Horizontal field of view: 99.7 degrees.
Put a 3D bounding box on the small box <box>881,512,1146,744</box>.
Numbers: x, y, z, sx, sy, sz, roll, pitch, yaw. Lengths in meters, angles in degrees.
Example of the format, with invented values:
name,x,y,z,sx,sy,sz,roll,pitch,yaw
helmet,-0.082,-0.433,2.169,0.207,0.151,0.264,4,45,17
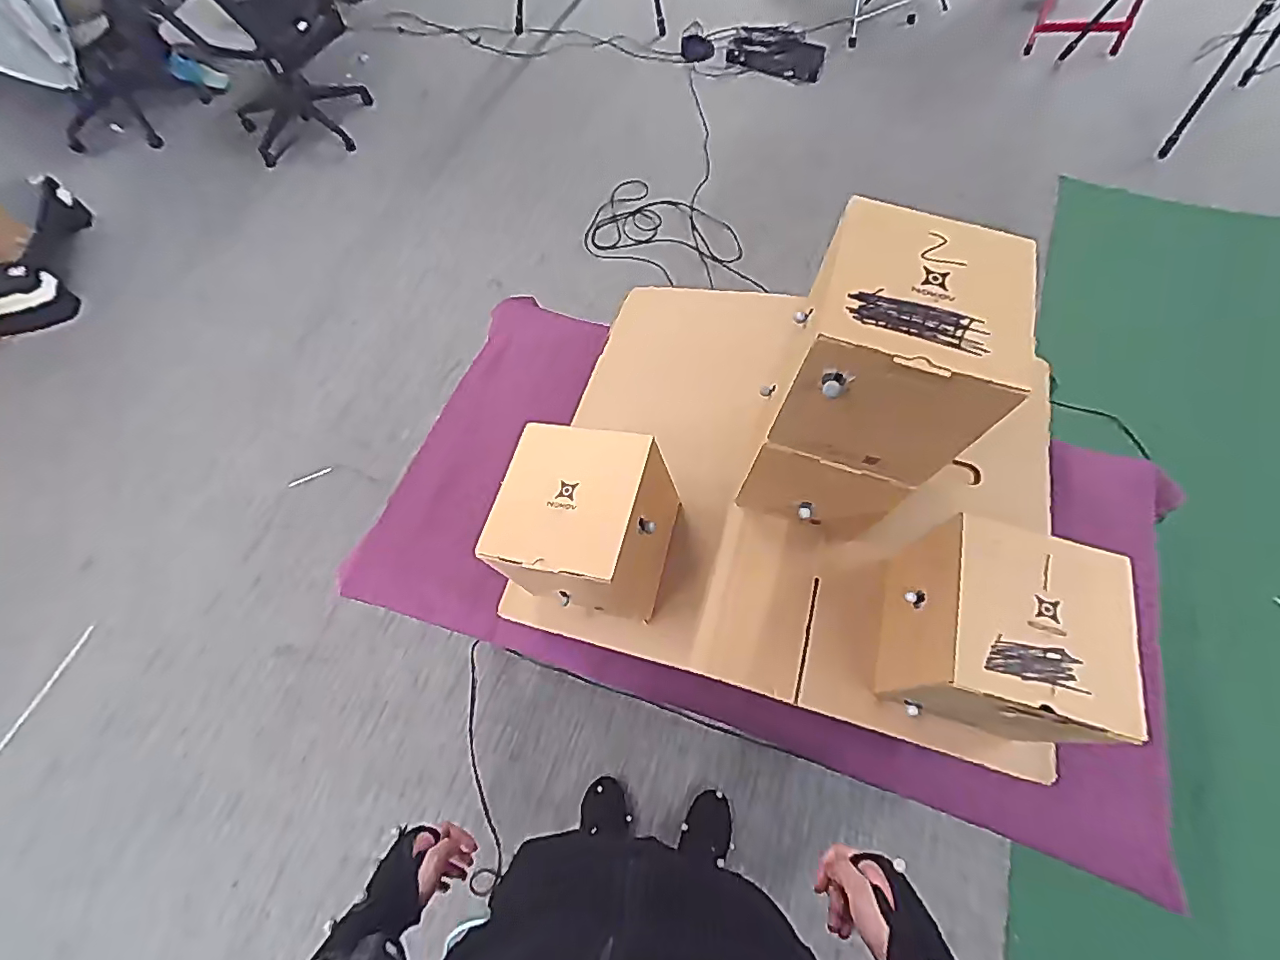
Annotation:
name,x,y,z,sx,sy,sz,roll,pitch,yaw
small box,0.376,0.163,0.575,0.168,0.176,0.179,16,65,6

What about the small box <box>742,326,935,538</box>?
name,x,y,z,sx,sy,sz,roll,pitch,yaw
small box,0.234,-0.052,0.668,0.168,0.176,0.179,17,66,6

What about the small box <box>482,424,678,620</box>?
name,x,y,z,sx,sy,sz,roll,pitch,yaw
small box,-0.057,0.055,0.662,0.168,0.176,0.179,7,66,19
